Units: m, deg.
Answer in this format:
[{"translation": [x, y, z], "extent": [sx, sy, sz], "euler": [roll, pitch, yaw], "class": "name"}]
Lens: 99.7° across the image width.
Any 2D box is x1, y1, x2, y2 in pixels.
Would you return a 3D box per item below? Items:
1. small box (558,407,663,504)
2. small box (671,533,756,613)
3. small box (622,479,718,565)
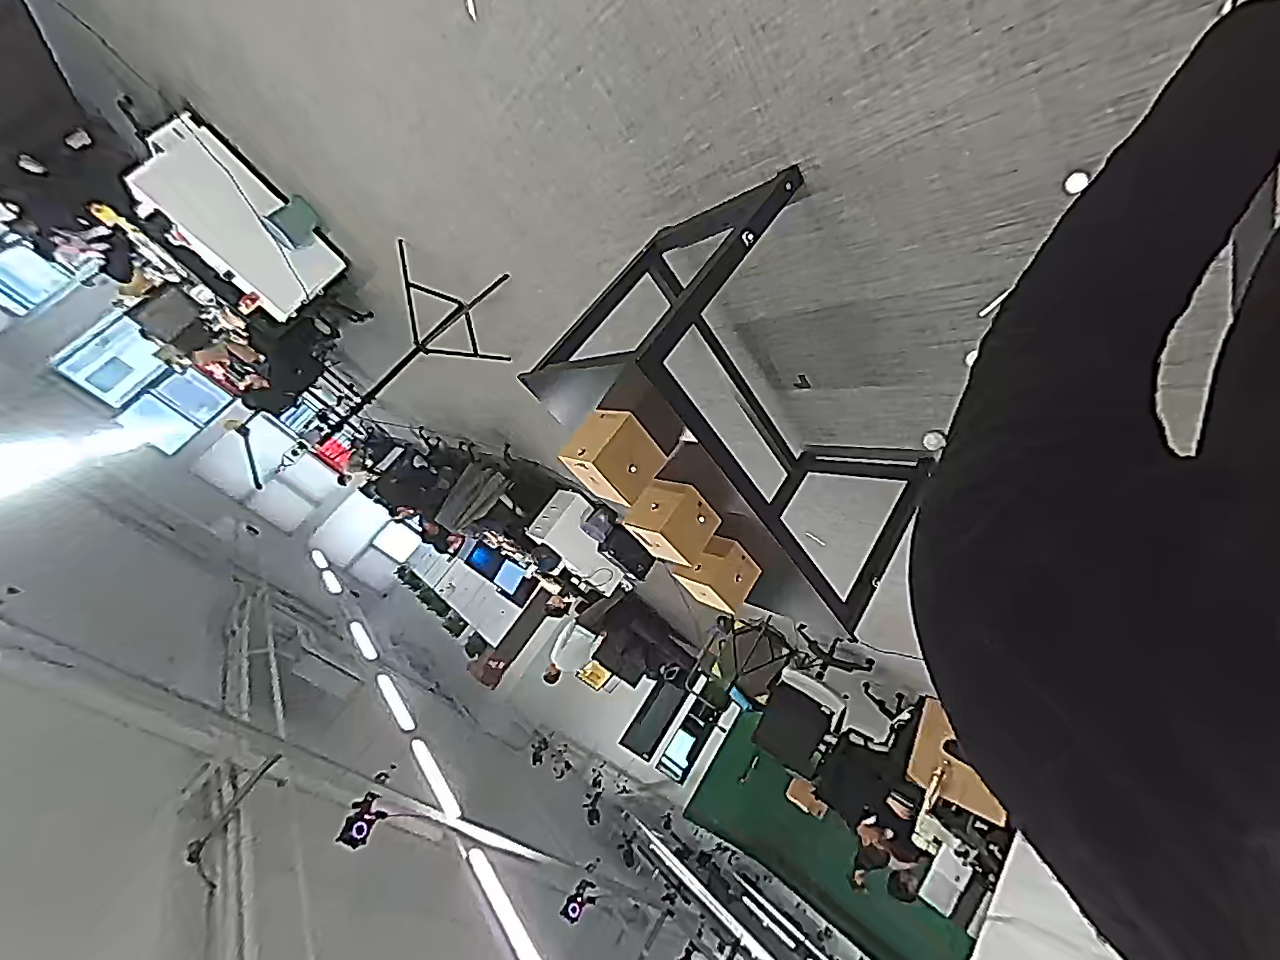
[{"translation": [-0.071, -0.065, 1.399], "extent": [0.168, 0.176, 0.179], "euler": [13, 152, 51], "class": "small box"}, {"translation": [0.237, 0.281, 1.689], "extent": [0.179, 0.176, 0.168], "euler": [11, 148, 53], "class": "small box"}, {"translation": [0.090, 0.113, 1.546], "extent": [0.179, 0.176, 0.168], "euler": [10, 148, 53], "class": "small box"}]
